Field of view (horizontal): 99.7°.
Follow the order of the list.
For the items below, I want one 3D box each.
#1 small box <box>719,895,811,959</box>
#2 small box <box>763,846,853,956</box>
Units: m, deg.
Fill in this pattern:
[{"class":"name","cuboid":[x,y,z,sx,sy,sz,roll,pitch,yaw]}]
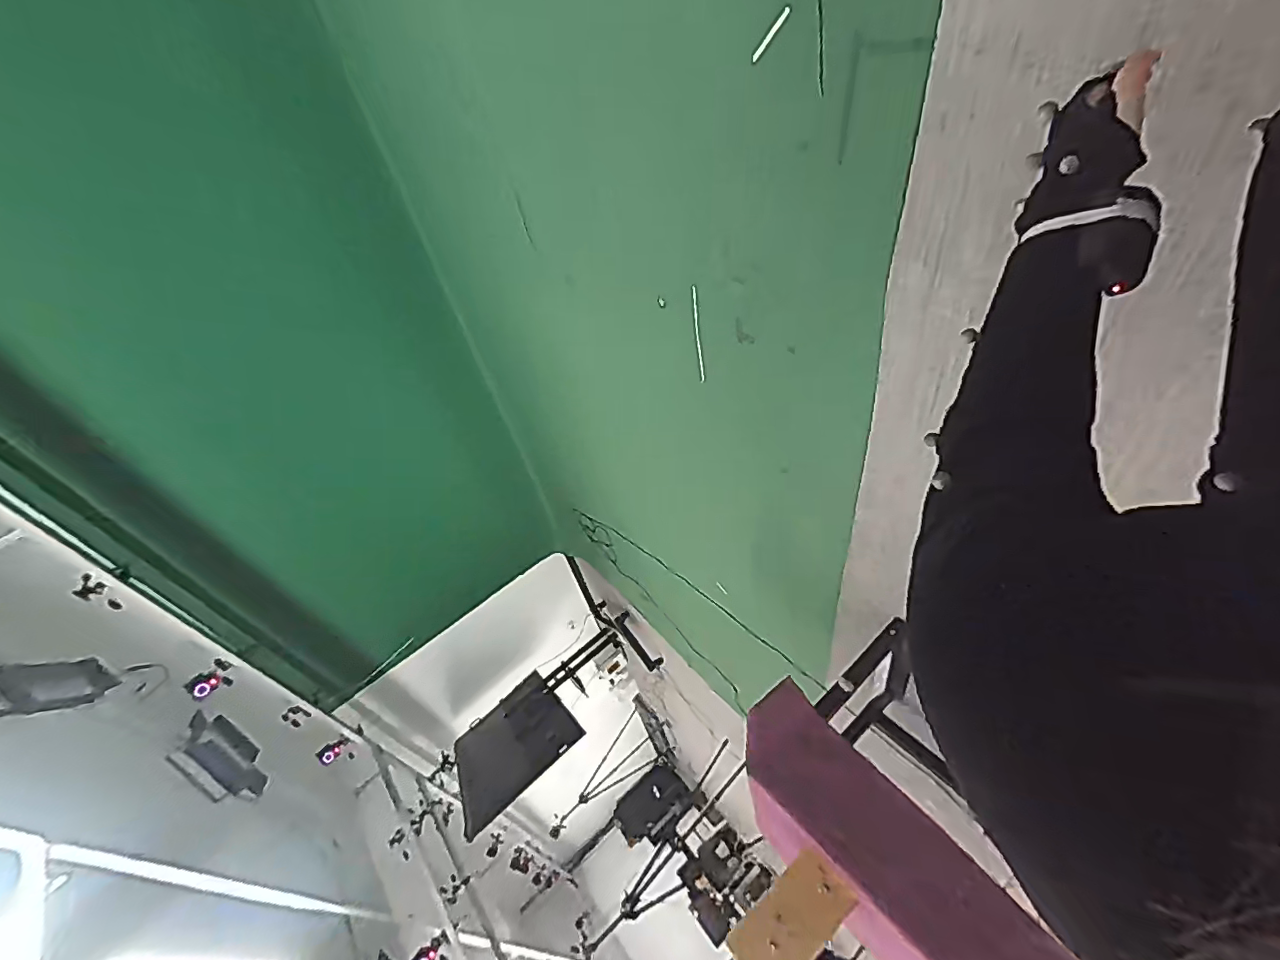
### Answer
[{"class":"small box","cuboid":[0.324,1.222,1.401,0.168,0.176,0.179,38,153,37]},{"class":"small box","cuboid":[0.450,1.134,1.460,0.168,0.176,0.179,38,153,36]}]
